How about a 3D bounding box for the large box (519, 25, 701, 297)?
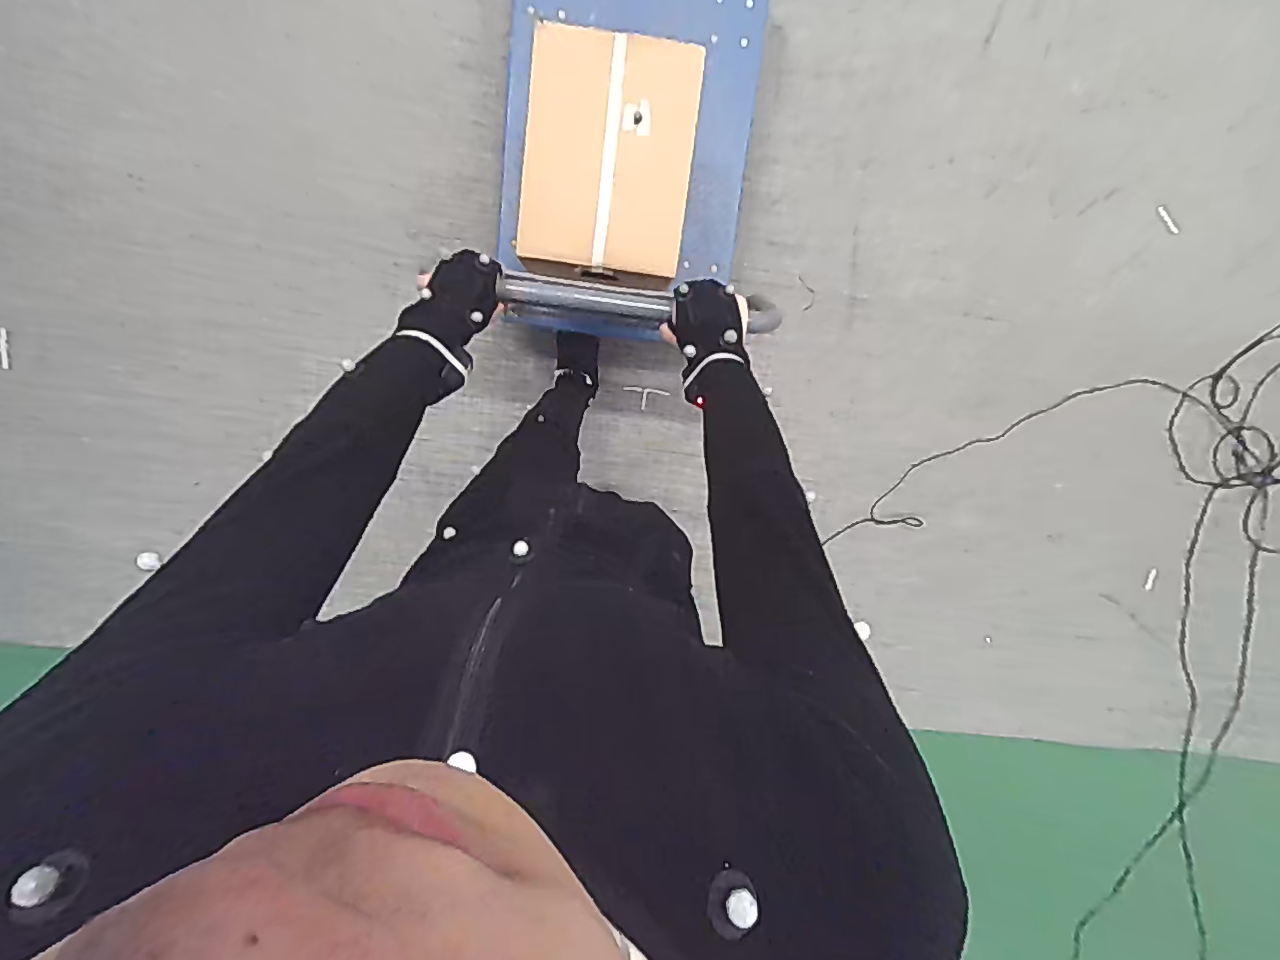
[{"bbox_3d":[-0.064,-0.641,1.167,0.320,0.320,0.408,7,99,-4],"label":"large box"}]
